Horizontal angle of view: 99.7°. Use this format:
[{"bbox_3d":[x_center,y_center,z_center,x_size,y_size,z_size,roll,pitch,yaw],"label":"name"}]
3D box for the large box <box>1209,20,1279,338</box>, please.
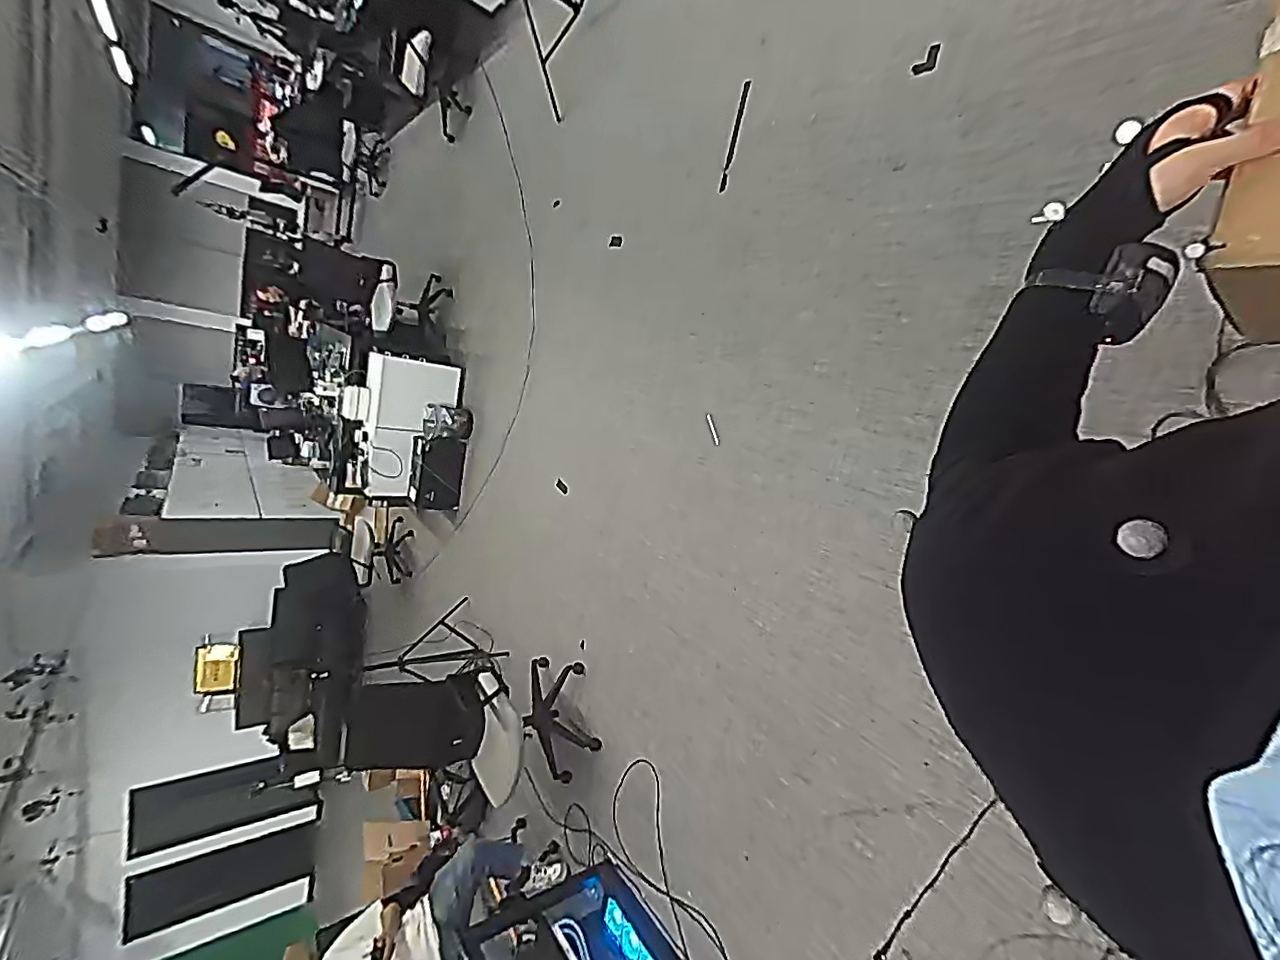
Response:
[{"bbox_3d":[0.688,-0.263,0.317,0.408,0.320,0.320,21,104,53],"label":"large box"}]
